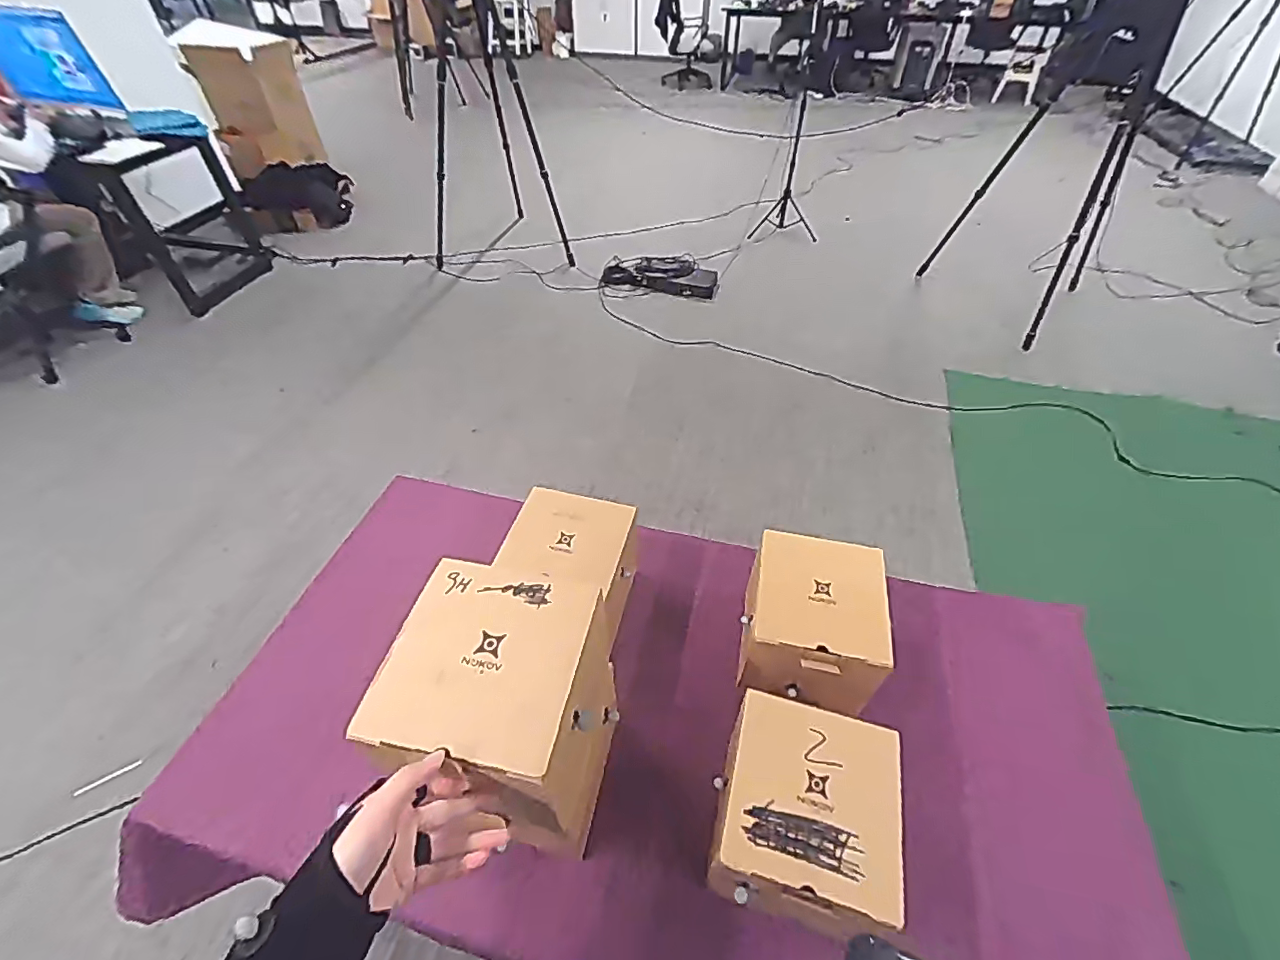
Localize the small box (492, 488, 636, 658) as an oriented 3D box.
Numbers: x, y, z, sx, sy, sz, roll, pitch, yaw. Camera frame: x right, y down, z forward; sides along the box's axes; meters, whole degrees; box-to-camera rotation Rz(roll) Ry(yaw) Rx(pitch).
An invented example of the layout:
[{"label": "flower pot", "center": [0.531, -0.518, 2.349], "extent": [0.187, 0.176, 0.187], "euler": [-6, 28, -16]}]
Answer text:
[{"label": "small box", "center": [-0.104, 0.143, 0.814], "extent": [0.168, 0.176, 0.179], "euler": [11, 48, 9]}]

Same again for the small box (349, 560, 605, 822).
[{"label": "small box", "center": [-0.133, 0.207, 0.526], "extent": [0.168, 0.176, 0.179], "euler": [9, 48, 8]}]

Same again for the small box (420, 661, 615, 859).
[{"label": "small box", "center": [-0.128, 0.319, 0.646], "extent": [0.168, 0.176, 0.179], "euler": [9, 47, 9]}]

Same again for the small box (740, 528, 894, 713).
[{"label": "small box", "center": [0.237, 0.197, 0.760], "extent": [0.168, 0.176, 0.179], "euler": [9, 49, 9]}]
